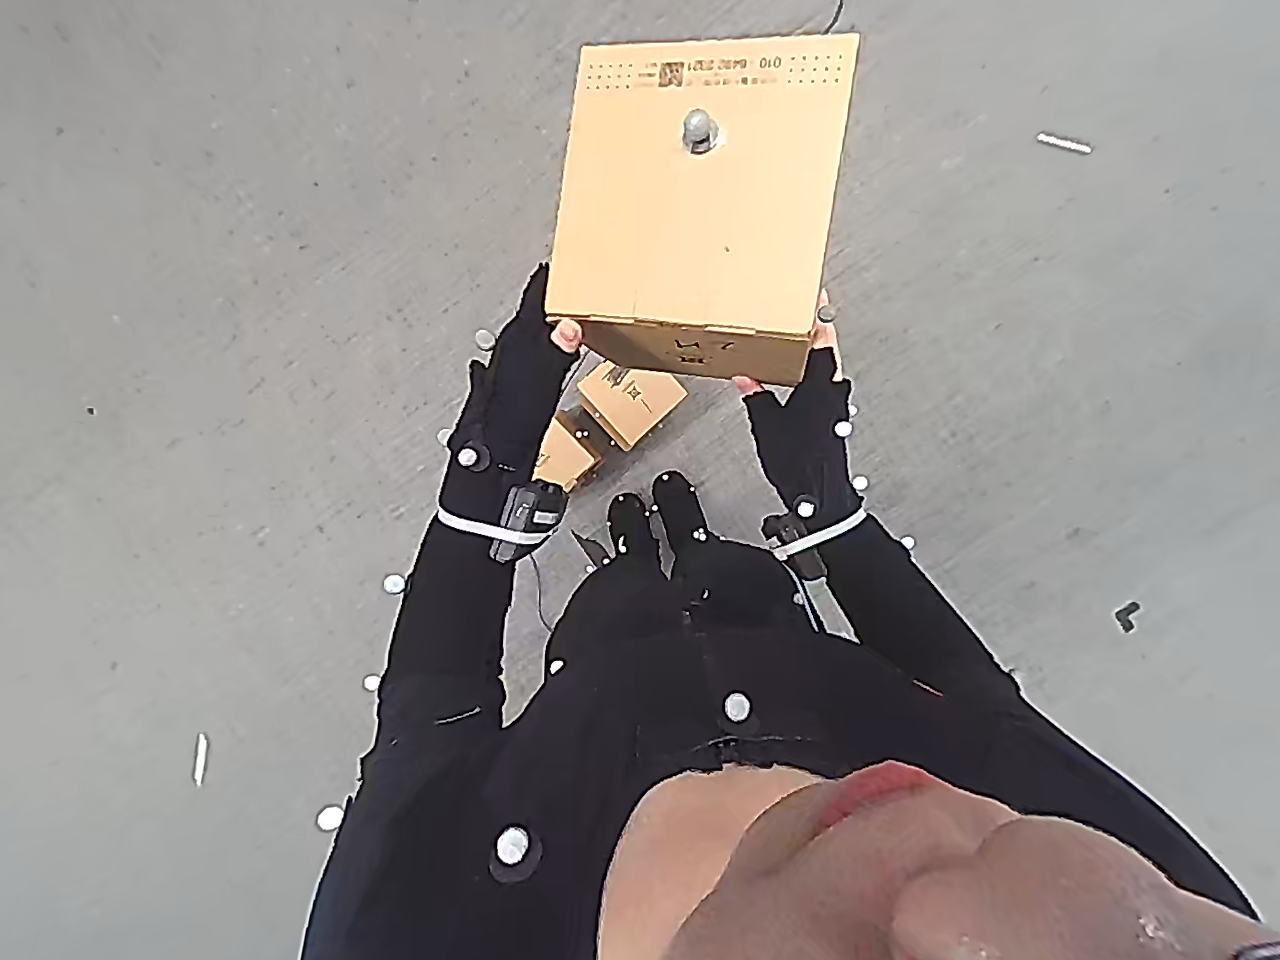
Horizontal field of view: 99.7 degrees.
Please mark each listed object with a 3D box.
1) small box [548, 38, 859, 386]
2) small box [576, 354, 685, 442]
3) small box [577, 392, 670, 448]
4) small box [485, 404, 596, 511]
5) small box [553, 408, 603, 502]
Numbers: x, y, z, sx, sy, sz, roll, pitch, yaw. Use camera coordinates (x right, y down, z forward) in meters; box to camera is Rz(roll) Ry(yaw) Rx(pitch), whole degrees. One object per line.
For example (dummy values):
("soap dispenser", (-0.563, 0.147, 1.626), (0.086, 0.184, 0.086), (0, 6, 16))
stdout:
("small box", (0.053, -0.174, 0.396), (0.168, 0.179, 0.176), (10, 94, 15))
("small box", (-0.021, -0.202, 1.216), (0.168, 0.176, 0.179), (-42, 95, 4))
("small box", (-0.037, -0.198, 1.382), (0.168, 0.176, 0.179), (-43, 94, 4))
("small box", (-0.215, -0.057, 1.233), (0.168, 0.176, 0.179), (-44, 94, 4))
("small box", (-0.211, -0.068, 1.397), (0.168, 0.176, 0.179), (-40, 93, 3))
